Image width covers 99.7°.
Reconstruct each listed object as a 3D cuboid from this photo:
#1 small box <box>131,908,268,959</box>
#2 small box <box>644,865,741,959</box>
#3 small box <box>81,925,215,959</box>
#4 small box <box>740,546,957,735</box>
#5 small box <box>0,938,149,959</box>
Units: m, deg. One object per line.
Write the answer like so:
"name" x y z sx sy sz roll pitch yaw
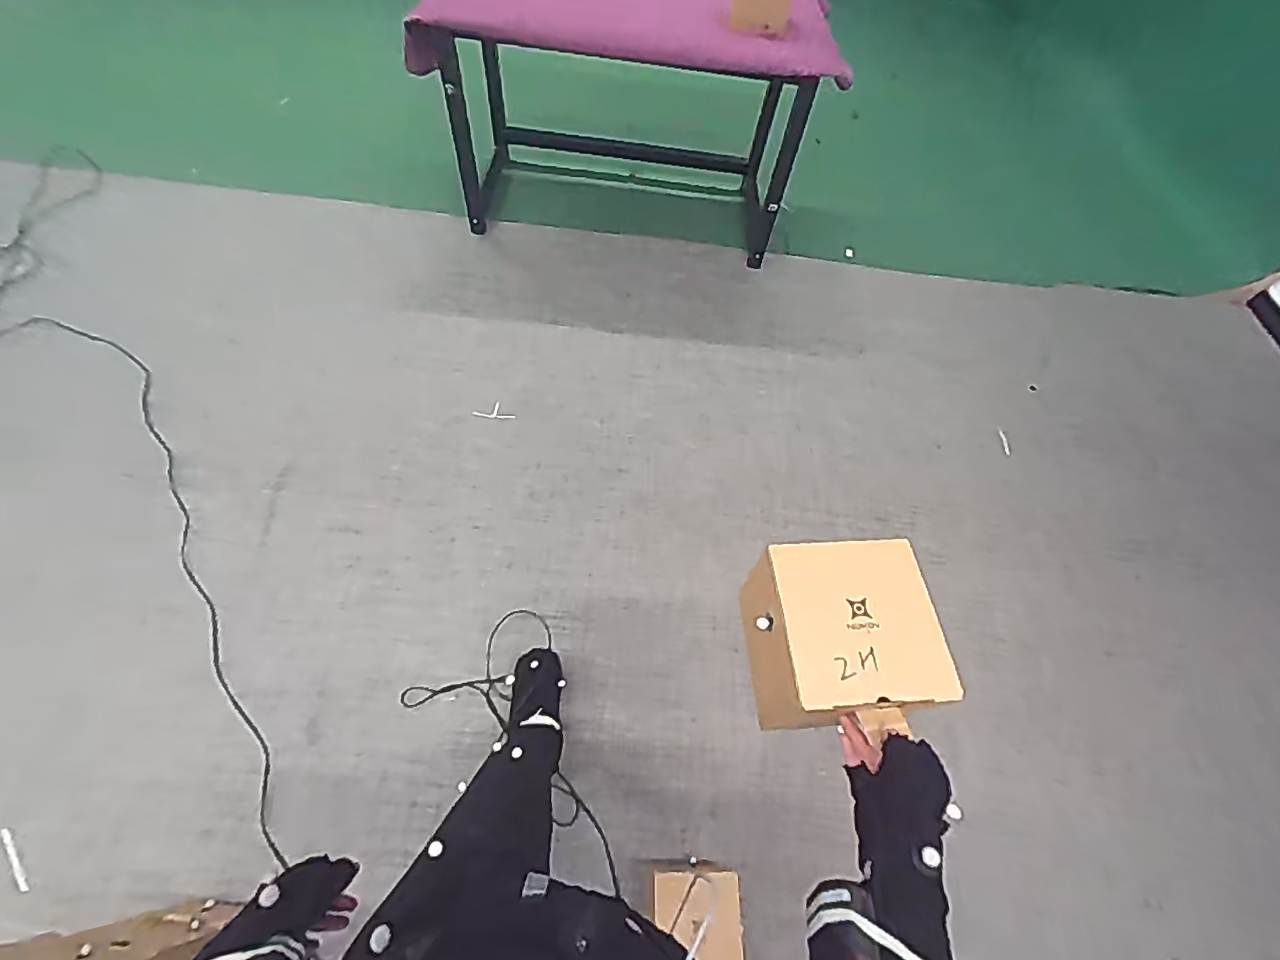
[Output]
"small box" -0.810 0.885 0.965 0.168 0.176 0.179 3 58 -1
"small box" 0.099 0.881 1.071 0.168 0.176 0.179 4 59 -5
"small box" -0.799 0.804 0.820 0.168 0.176 0.179 8 60 -2
"small box" 0.223 0.192 0.638 0.168 0.176 0.179 -2 59 -4
"small box" -0.792 0.720 0.681 0.168 0.176 0.179 12 58 1
